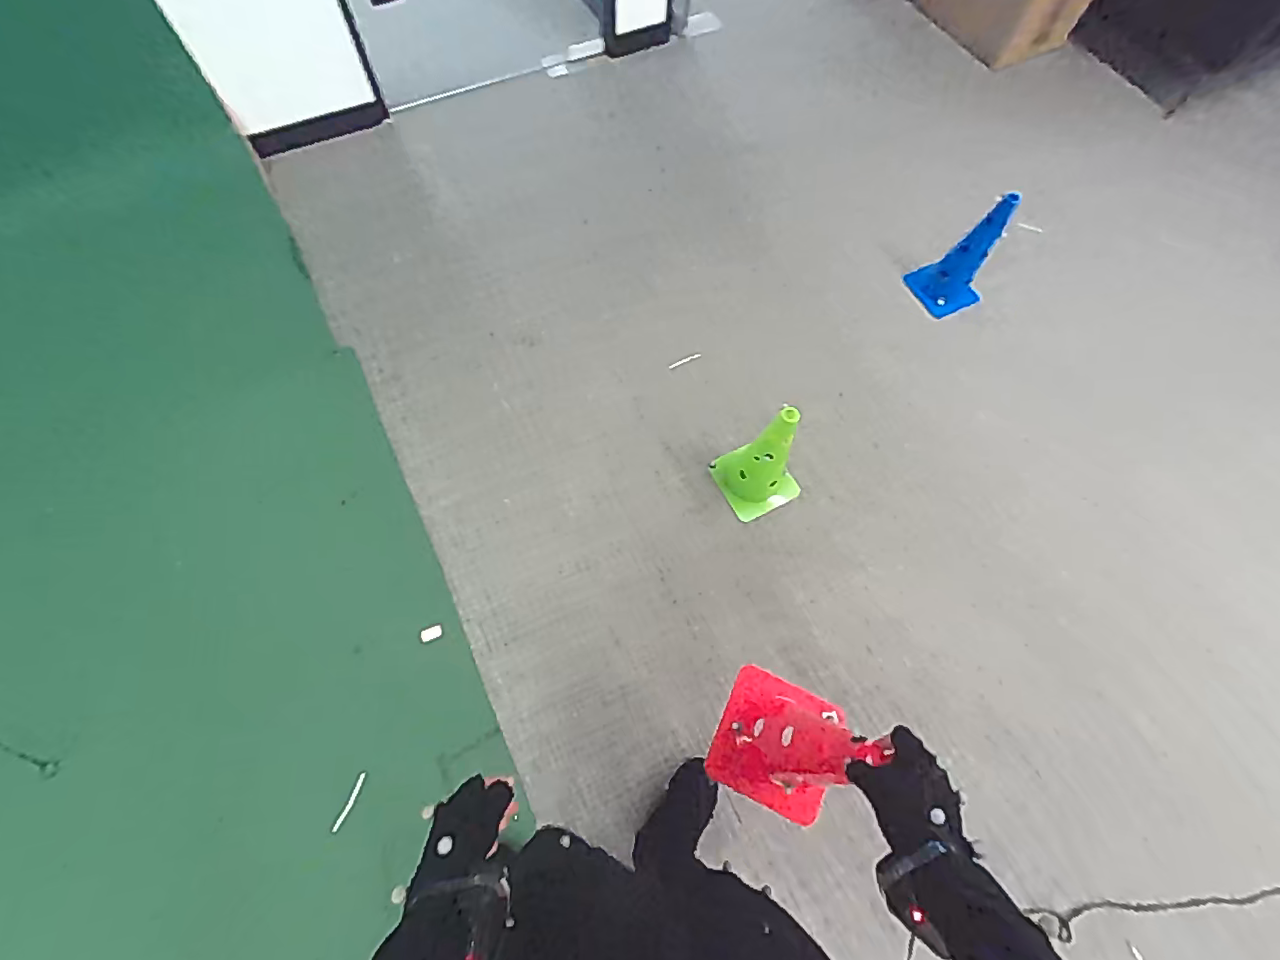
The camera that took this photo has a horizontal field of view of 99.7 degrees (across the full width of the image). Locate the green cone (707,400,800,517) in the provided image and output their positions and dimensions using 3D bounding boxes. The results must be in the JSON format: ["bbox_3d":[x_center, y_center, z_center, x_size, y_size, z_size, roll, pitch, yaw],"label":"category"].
[{"bbox_3d":[0.318,-0.082,1.336,0.202,0.368,0.200,-26,71,-13],"label":"green cone"}]

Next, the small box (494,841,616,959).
[{"bbox_3d":[-0.172,0.844,1.050,0.168,0.176,0.179,2,46,-33],"label":"small box"}]
